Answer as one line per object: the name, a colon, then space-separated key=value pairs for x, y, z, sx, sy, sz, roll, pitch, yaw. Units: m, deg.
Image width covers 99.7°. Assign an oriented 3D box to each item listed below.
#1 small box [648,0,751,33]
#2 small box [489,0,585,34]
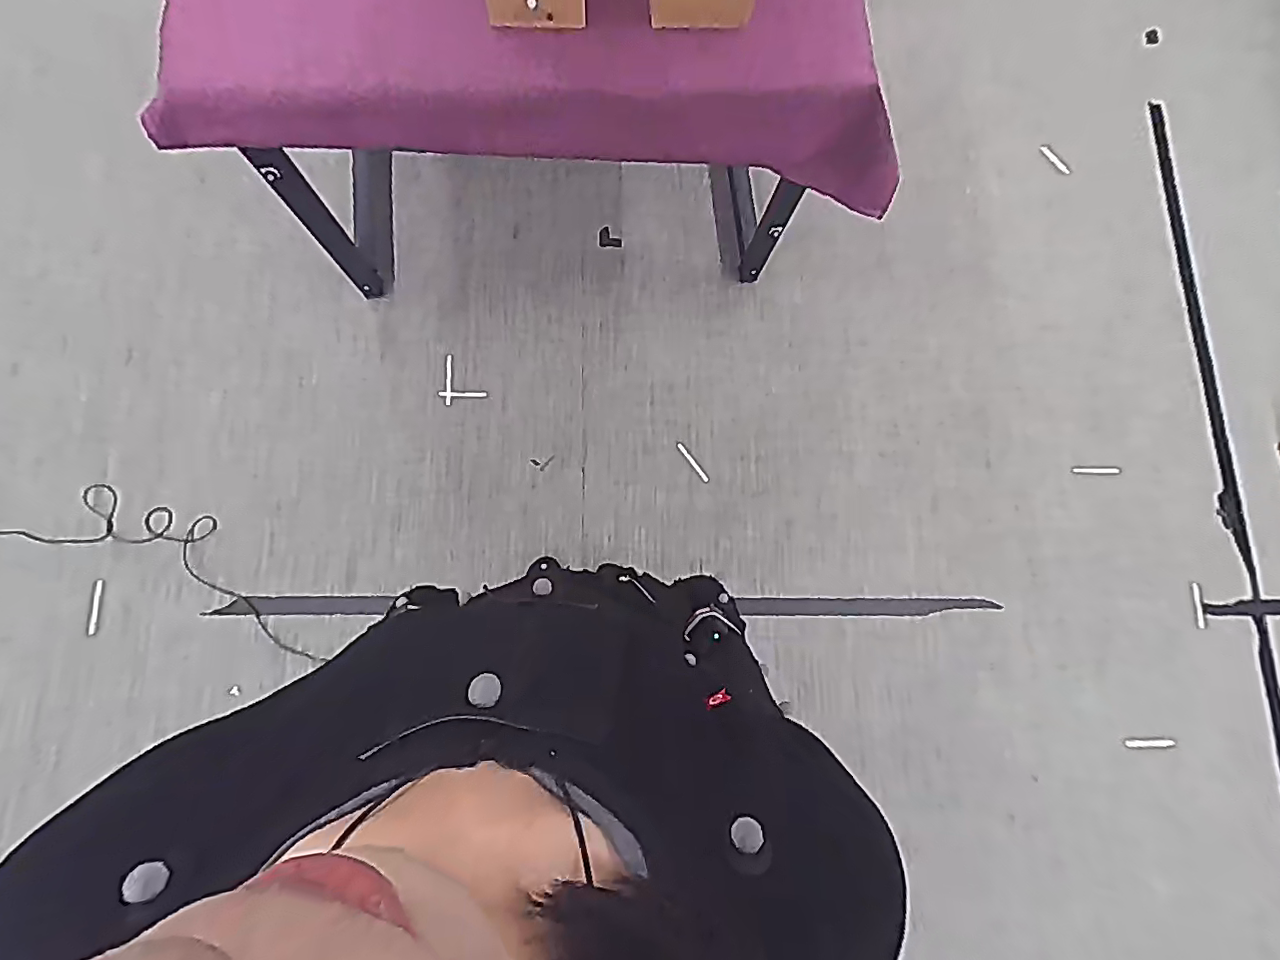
small box: x=0.106 y=-0.901 z=0.912 sx=0.179 sy=0.176 sz=0.168 roll=-5 pitch=79 yaw=-4
small box: x=-0.177 y=-0.887 z=0.886 sx=0.168 sy=0.176 sz=0.179 roll=-3 pitch=81 yaw=-5
